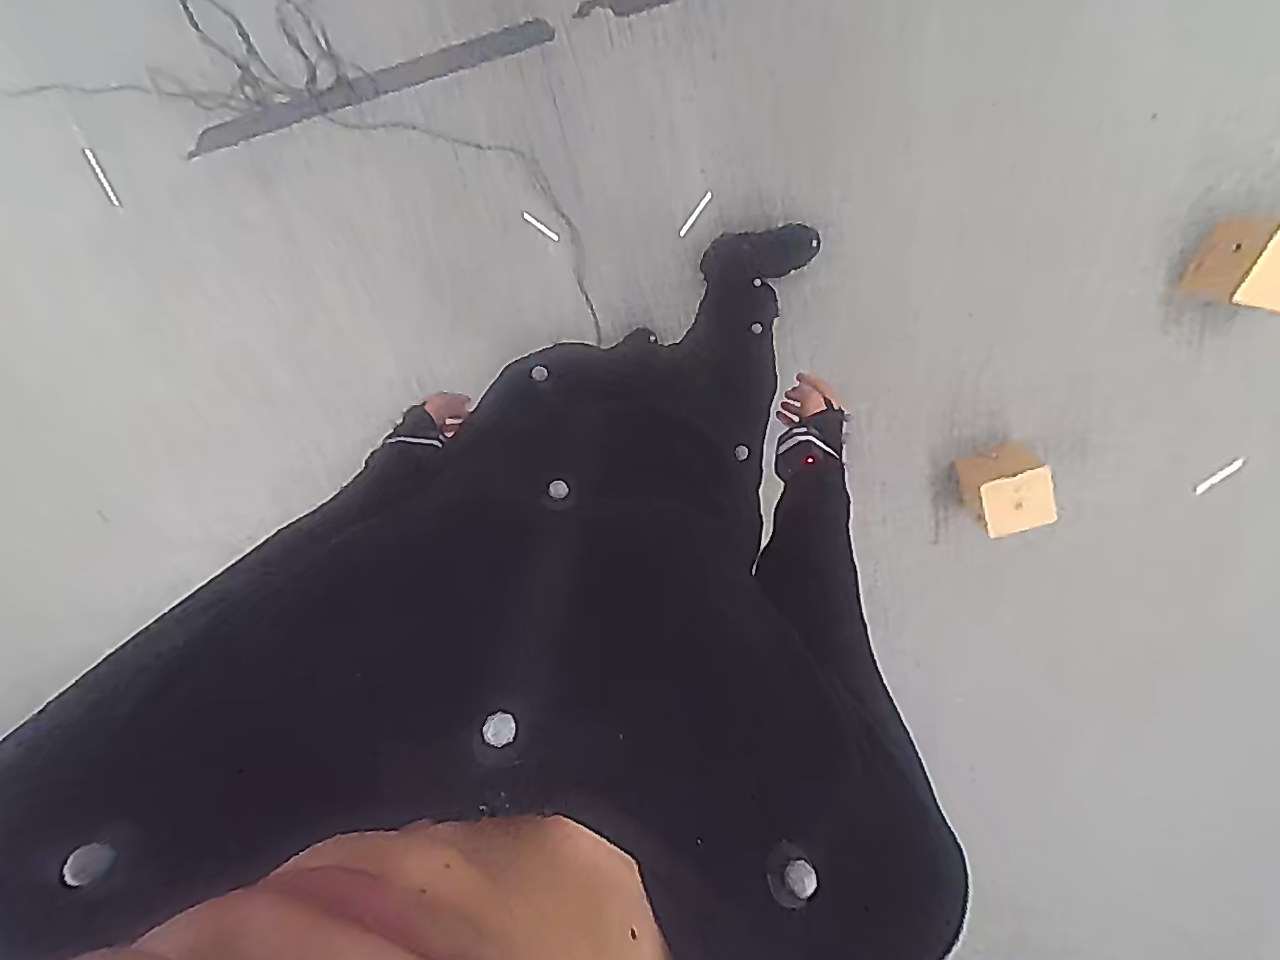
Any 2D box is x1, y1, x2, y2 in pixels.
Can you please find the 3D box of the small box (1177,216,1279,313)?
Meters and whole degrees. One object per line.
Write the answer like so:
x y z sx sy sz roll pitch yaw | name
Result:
1.370 -0.471 1.193 0.179 0.176 0.168 14 116 0 | small box

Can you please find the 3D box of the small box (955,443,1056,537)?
0.992 0.024 1.477 0.168 0.176 0.179 -19 111 16 | small box
